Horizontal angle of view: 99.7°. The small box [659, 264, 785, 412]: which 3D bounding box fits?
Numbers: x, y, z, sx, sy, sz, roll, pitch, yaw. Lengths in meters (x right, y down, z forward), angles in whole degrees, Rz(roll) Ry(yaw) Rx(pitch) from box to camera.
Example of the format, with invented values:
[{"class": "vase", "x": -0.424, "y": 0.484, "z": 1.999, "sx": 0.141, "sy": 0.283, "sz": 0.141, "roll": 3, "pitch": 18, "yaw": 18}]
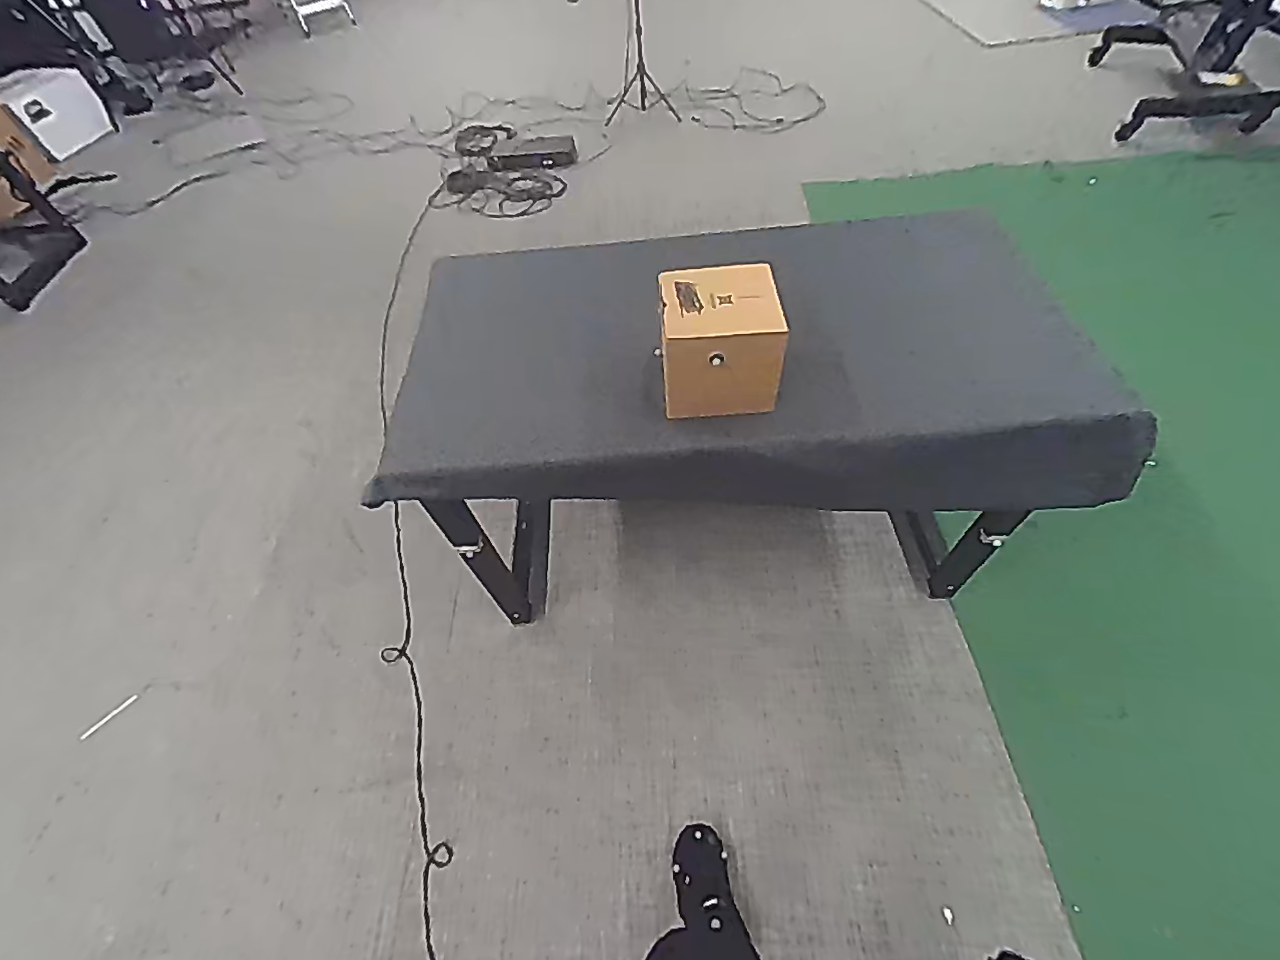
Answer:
[{"class": "small box", "x": 0.125, "y": -0.224, "z": 0.877, "sx": 0.179, "sy": 0.176, "sz": 0.168, "roll": -3, "pitch": 55, "yaw": 2}]
